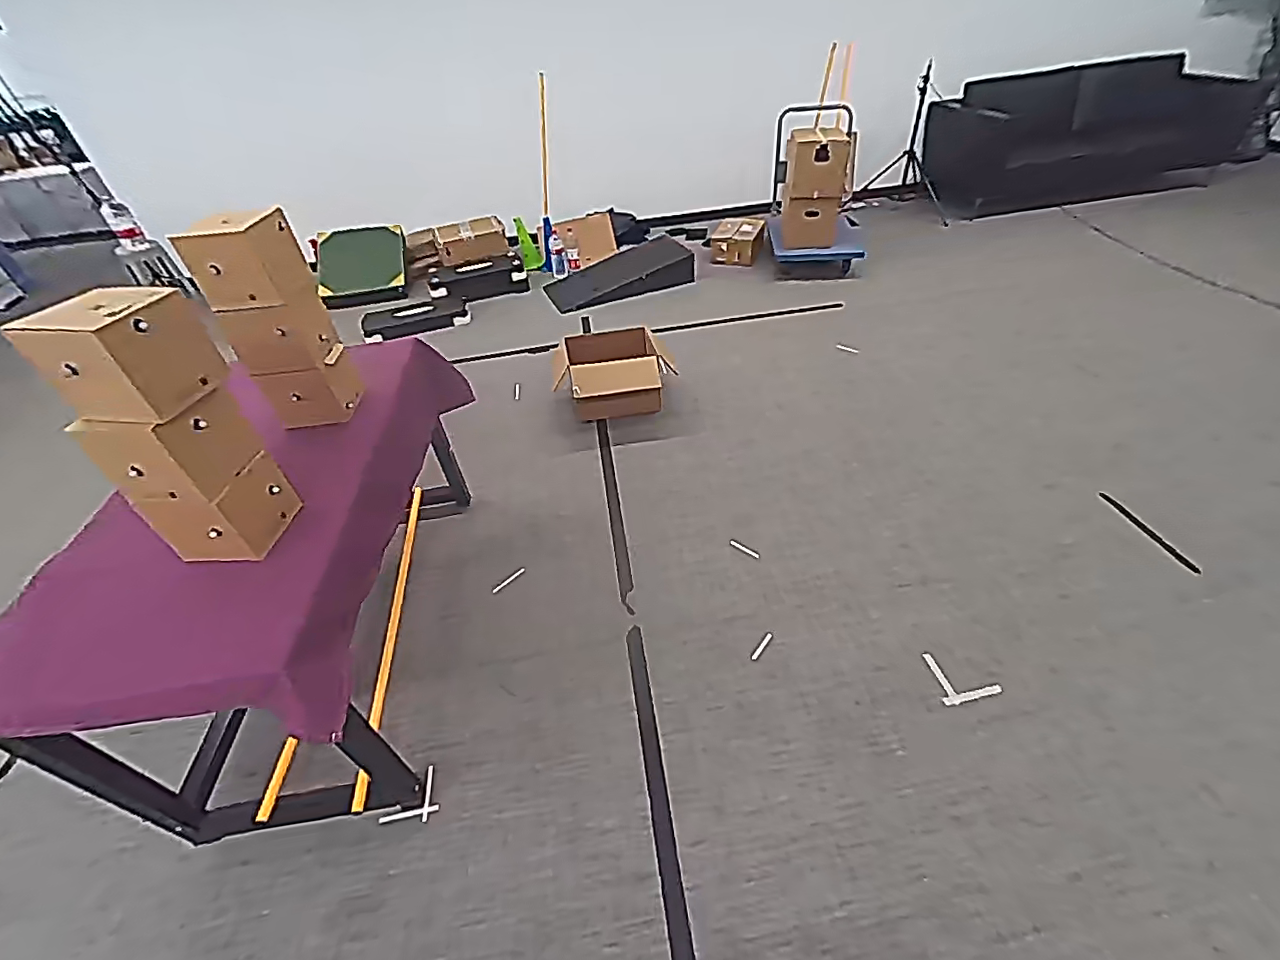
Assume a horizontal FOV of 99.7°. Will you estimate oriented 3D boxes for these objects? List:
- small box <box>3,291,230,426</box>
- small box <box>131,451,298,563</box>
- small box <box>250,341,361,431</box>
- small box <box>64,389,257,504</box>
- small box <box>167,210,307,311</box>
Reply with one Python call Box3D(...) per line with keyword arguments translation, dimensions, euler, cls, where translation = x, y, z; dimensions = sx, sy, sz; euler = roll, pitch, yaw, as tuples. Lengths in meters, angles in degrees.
Box3D(translation=(-0.863, -0.204, 0.912), dimensions=(0.179, 0.176, 0.168), euler=(2, 41, 10), cls="small box")
Box3D(translation=(-0.855, 0.057, 1.112), dimensions=(0.179, 0.176, 0.168), euler=(-2, 41, 5), cls="small box")
Box3D(translation=(-0.886, -0.253, 1.457), dimensions=(0.179, 0.176, 0.168), euler=(-8, 42, 0), cls="small box")
Box3D(translation=(-0.870, -0.068, 1.007), dimensions=(0.168, 0.176, 0.179), euler=(0, 41, 5), cls="small box")
Box3D(translation=(-0.908, -0.499, 1.243), dimensions=(0.168, 0.176, 0.179), euler=(-5, 41, 1), cls="small box")
